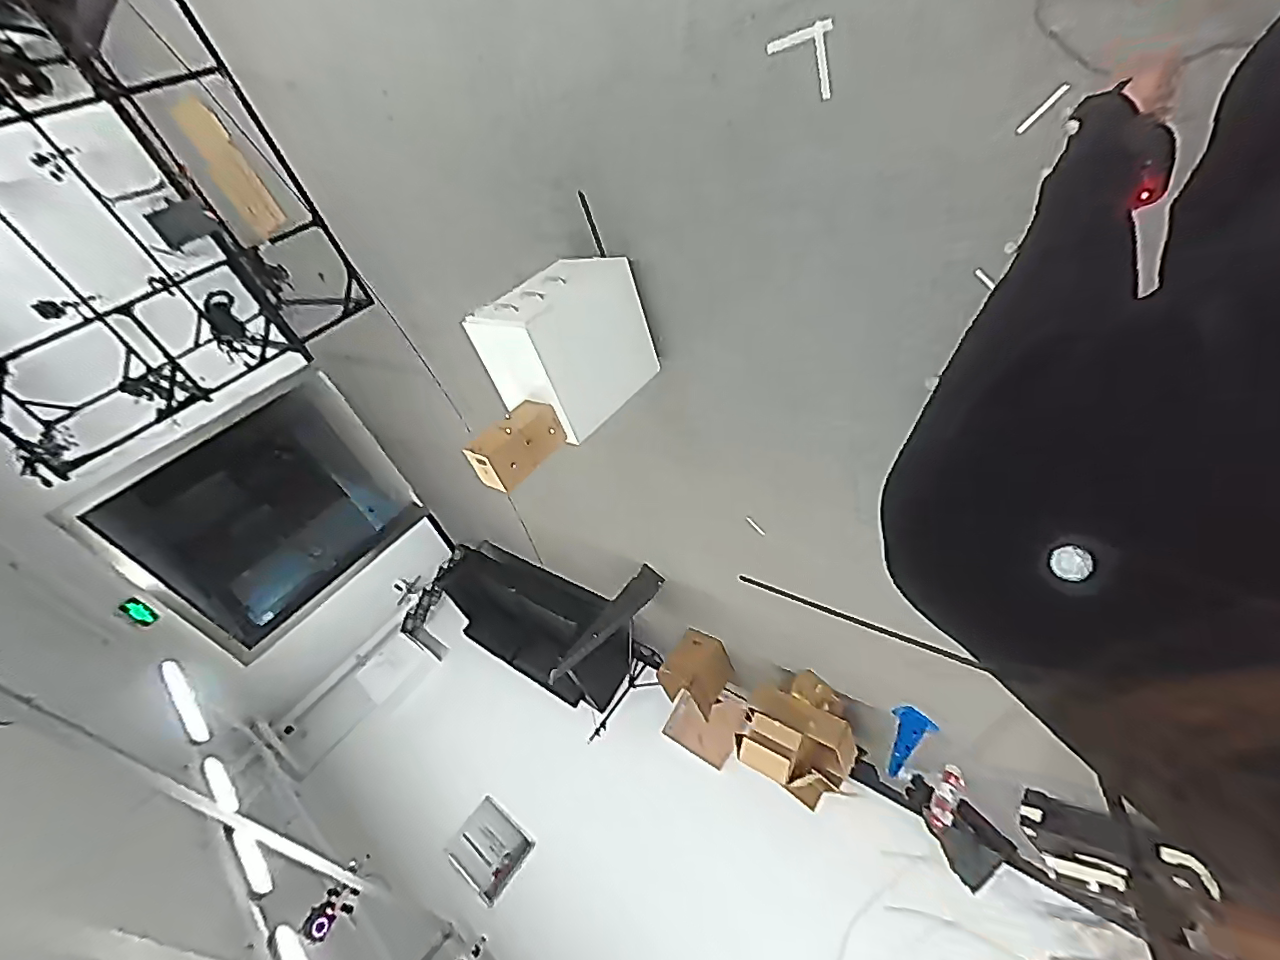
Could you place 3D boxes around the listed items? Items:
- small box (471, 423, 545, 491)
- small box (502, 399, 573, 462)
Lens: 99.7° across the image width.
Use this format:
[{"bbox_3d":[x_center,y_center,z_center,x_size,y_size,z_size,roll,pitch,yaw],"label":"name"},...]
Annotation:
[{"bbox_3d":[-0.493,-0.092,2.032,0.168,0.176,0.179,18,143,40],"label":"small box"},{"bbox_3d":[-0.397,-0.199,2.113,0.179,0.176,0.168,17,142,41],"label":"small box"}]
